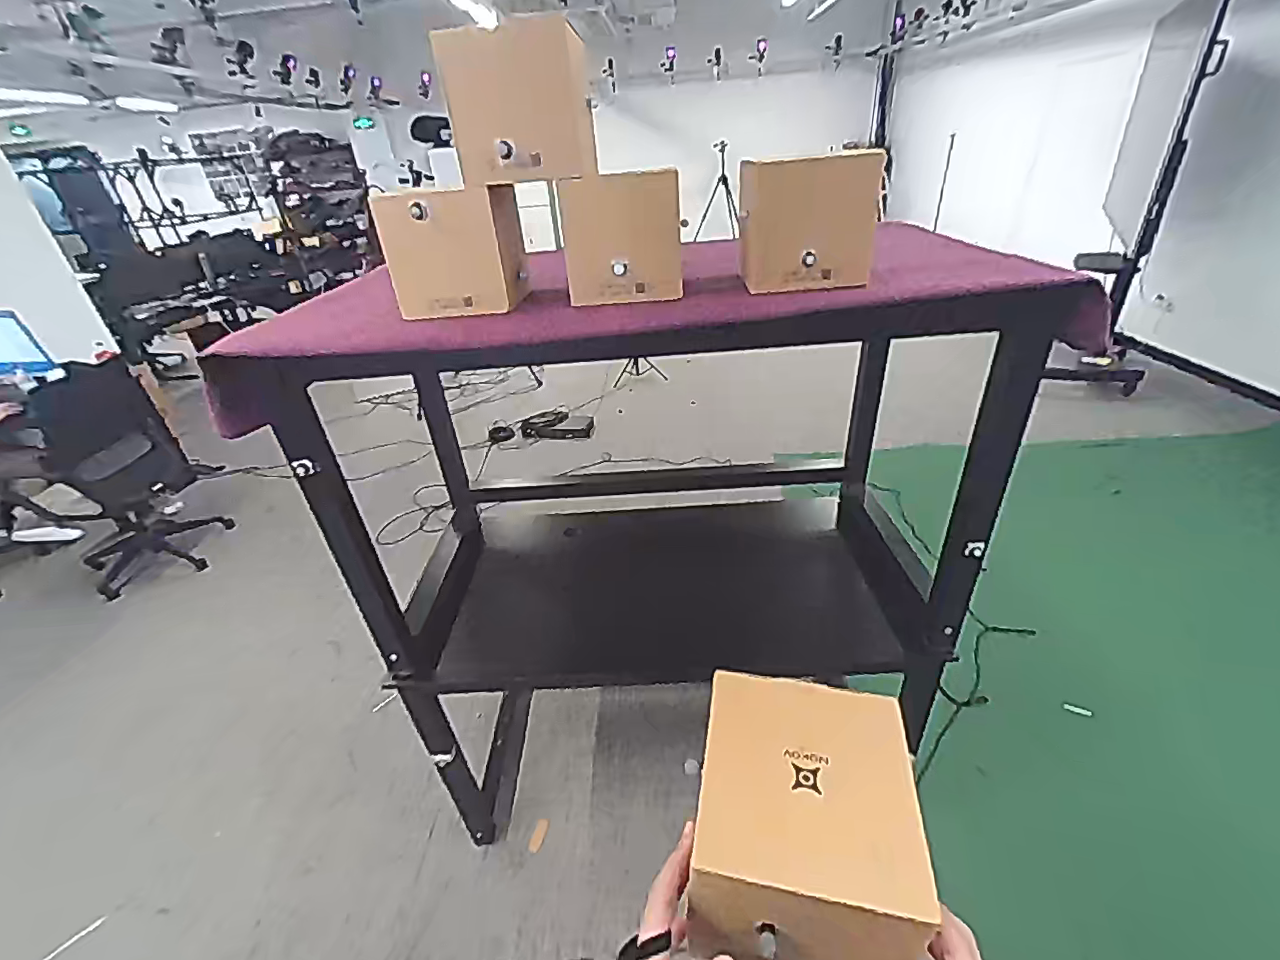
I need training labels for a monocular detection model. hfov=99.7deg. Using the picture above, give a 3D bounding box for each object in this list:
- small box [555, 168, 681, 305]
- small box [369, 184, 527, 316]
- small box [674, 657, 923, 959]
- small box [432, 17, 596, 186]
[{"bbox_3d":[-0.025,-0.370,0.820,0.168,0.176,0.179,-3,31,4],"label":"small box"},{"bbox_3d":[-0.277,-0.355,0.830,0.168,0.176,0.179,-4,30,2],"label":"small box"},{"bbox_3d":[0.127,0.289,0.472,0.168,0.176,0.179,5,32,12],"label":"small box"},{"bbox_3d":[-0.158,-0.505,0.746,0.168,0.176,0.179,-2,31,5],"label":"small box"}]
